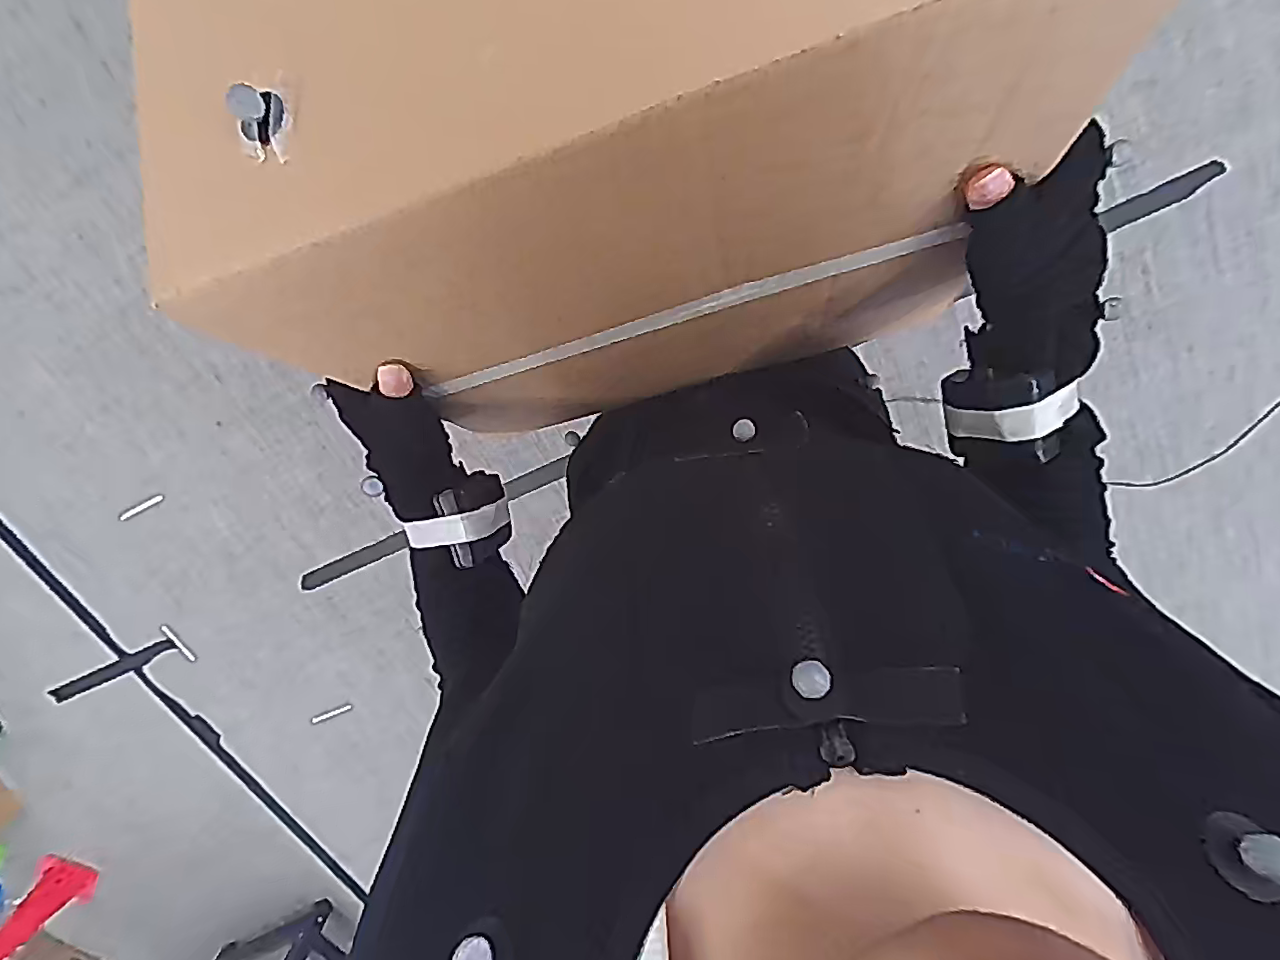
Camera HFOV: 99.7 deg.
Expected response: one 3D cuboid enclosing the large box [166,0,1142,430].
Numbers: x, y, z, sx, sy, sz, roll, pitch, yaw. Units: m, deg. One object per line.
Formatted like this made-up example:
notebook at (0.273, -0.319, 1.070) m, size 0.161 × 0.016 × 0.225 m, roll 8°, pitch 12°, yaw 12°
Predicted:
large box at (-0.014, -0.258, 0.369) m, size 0.408 × 0.320 × 0.320 m, roll -14°, pitch 81°, yaw 11°
